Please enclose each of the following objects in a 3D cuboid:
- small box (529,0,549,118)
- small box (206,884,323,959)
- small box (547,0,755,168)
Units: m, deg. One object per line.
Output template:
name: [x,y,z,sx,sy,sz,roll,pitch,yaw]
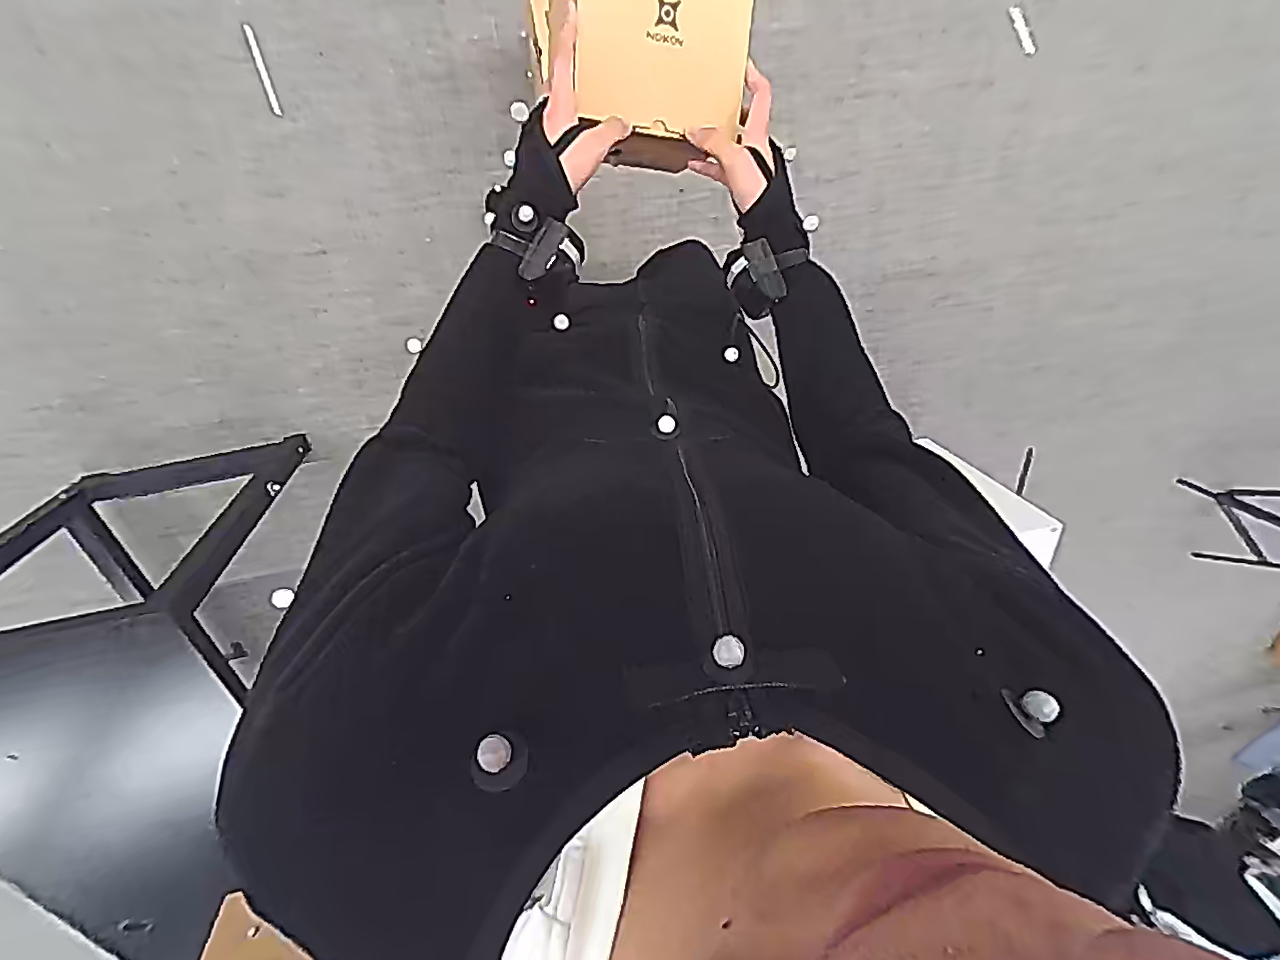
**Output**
small box: [-0.111,-0.796,1.024,0.179,0.176,0.168,-11,120,-8]
small box: [-0.853,1.064,1.231,0.179,0.176,0.168,-13,120,-7]
small box: [0.000,-0.433,0.542,0.168,0.176,0.179,-2,112,-17]
